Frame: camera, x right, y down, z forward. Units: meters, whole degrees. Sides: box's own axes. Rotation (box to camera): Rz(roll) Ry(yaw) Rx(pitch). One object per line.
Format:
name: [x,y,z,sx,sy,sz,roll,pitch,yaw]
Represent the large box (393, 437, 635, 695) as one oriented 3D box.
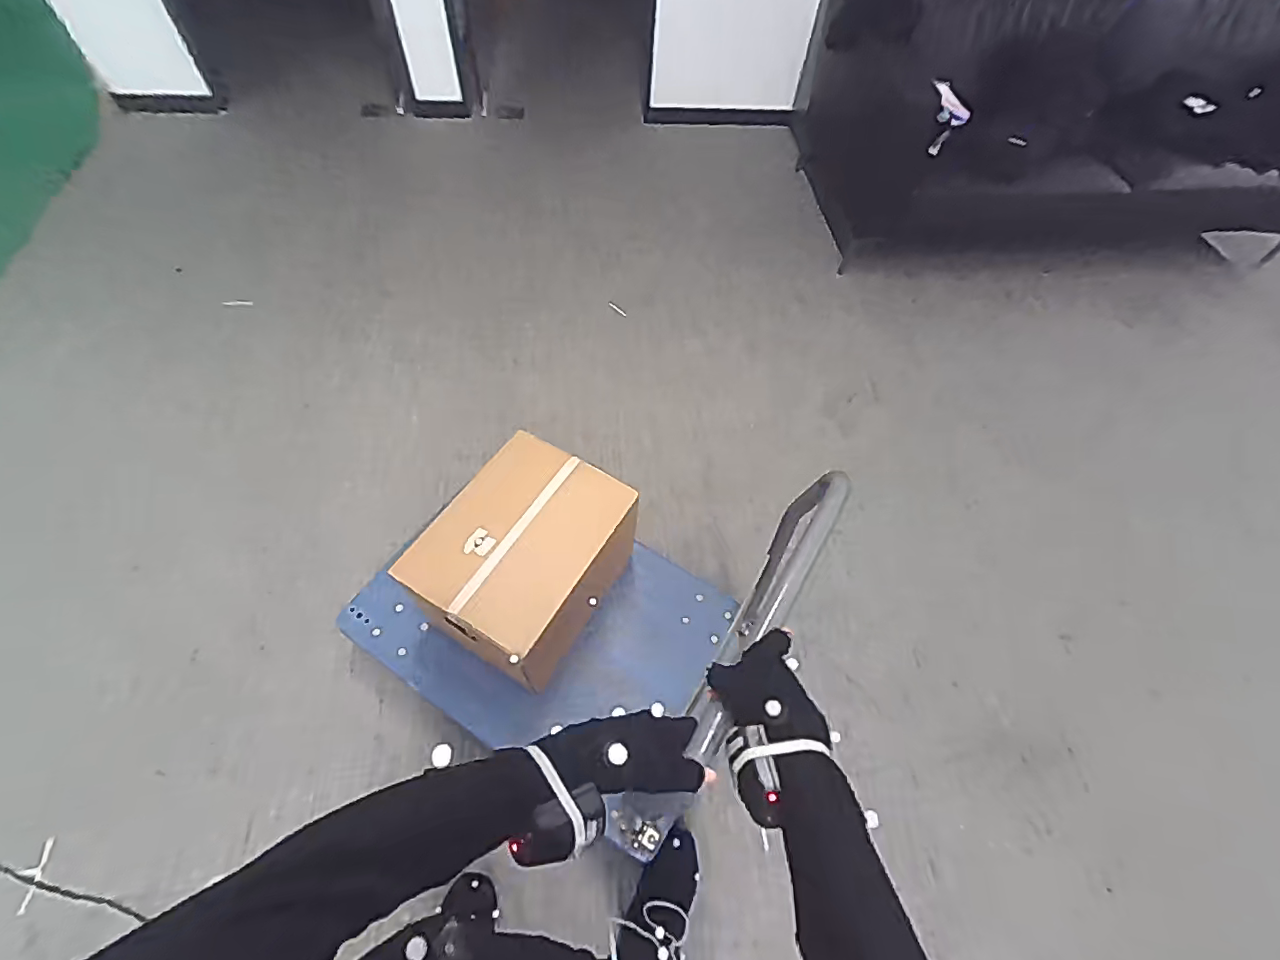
large box: [-0.244,0.191,1.196,0.320,0.320,0.408,28,60,14]
